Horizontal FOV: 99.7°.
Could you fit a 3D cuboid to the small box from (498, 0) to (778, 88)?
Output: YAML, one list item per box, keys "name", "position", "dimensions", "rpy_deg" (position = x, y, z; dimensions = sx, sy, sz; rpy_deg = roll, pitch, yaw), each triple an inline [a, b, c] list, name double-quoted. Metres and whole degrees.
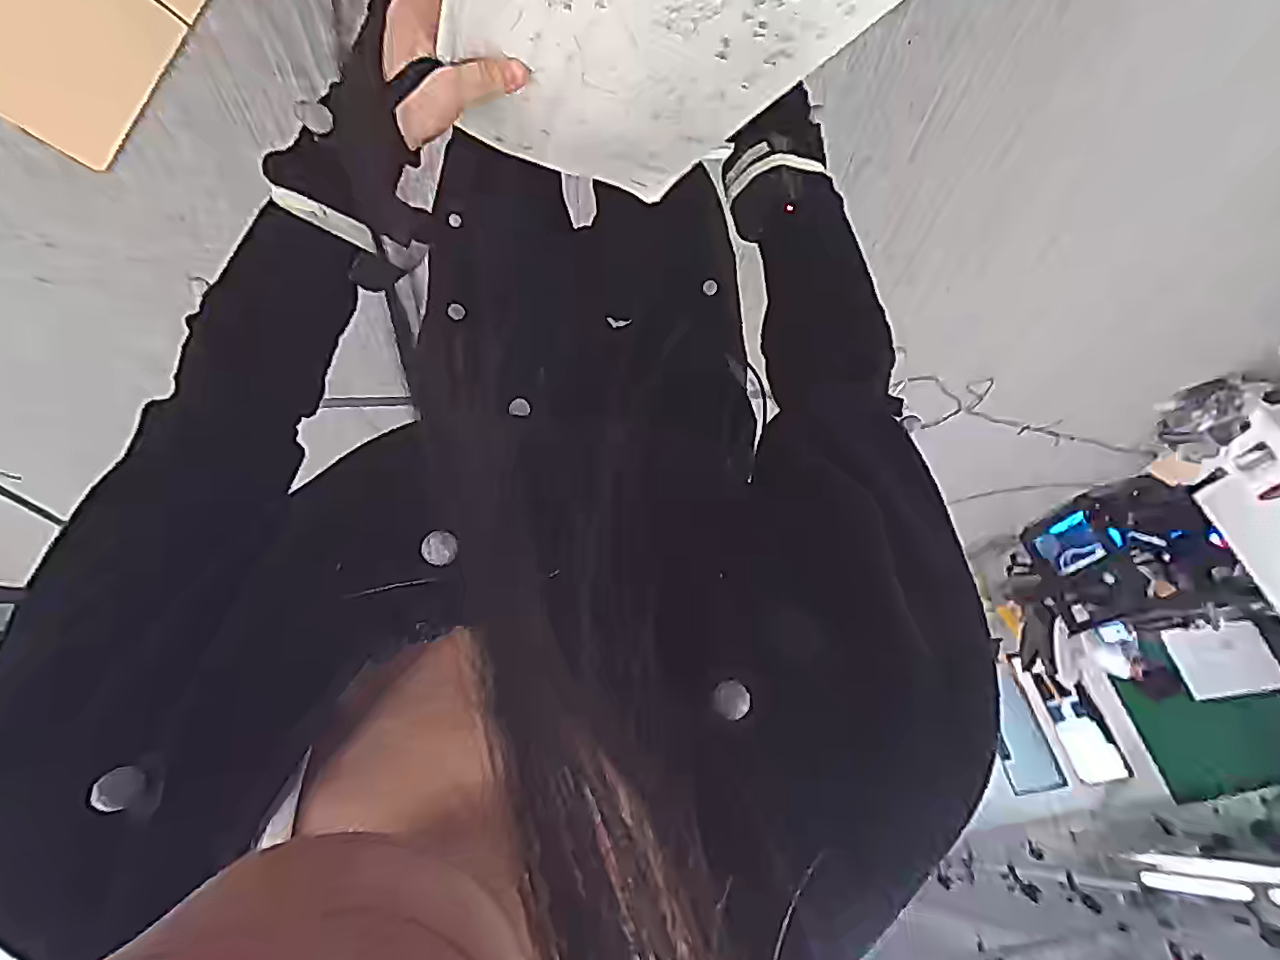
- name: "small box"
  position: [-0.003, -0.374, 0.311]
  dimensions: [0.168, 0.176, 0.179]
  rpy_deg: [-17, 169, -23]
